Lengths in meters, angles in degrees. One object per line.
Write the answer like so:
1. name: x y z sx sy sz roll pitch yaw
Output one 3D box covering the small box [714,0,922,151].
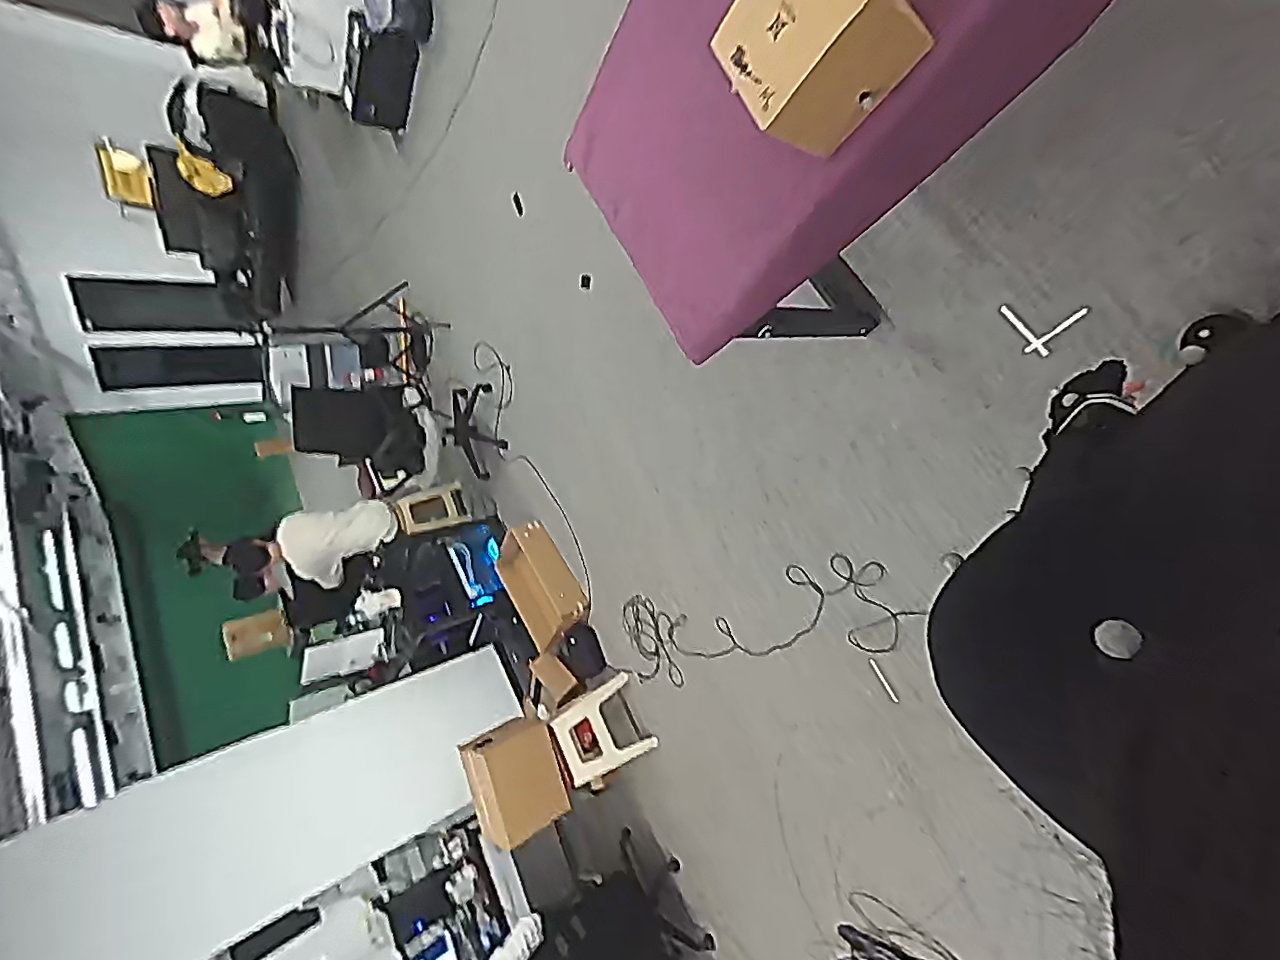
1. small box: 0.237 -0.578 0.709 0.179 0.176 0.168 -38 71 47
